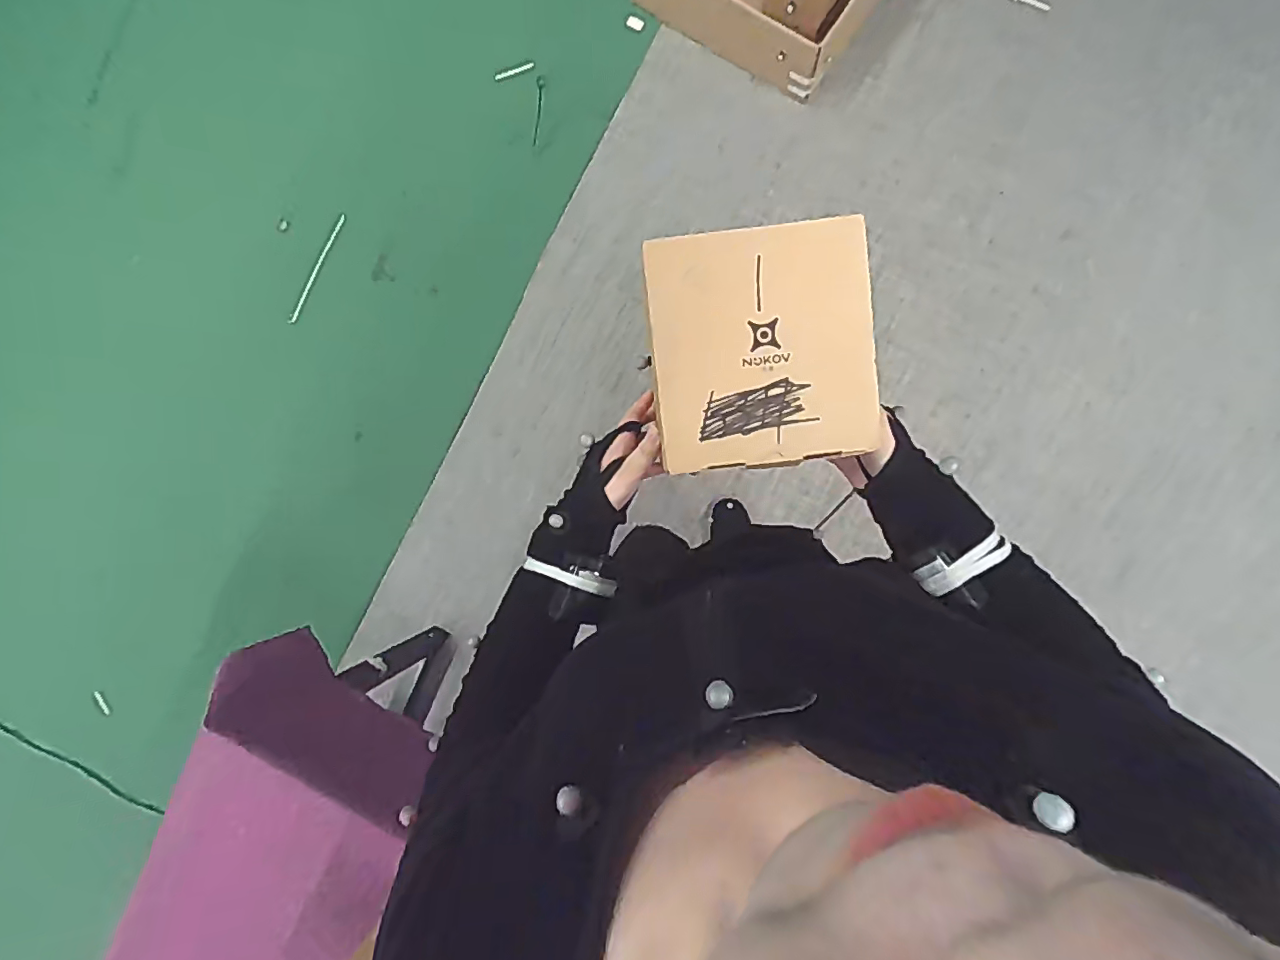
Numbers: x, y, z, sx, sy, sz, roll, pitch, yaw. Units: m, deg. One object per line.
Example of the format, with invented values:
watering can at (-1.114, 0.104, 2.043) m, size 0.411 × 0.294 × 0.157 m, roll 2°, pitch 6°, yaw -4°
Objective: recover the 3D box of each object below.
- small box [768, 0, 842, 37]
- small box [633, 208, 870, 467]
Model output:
small box at (0.433, -1.272, 1.349) m, size 0.168 × 0.176 × 0.179 m, roll 32°, pitch 95°, yaw 8°
small box at (0.086, -0.111, 0.481) m, size 0.168 × 0.176 × 0.179 m, roll -6°, pitch 94°, yaw 1°
